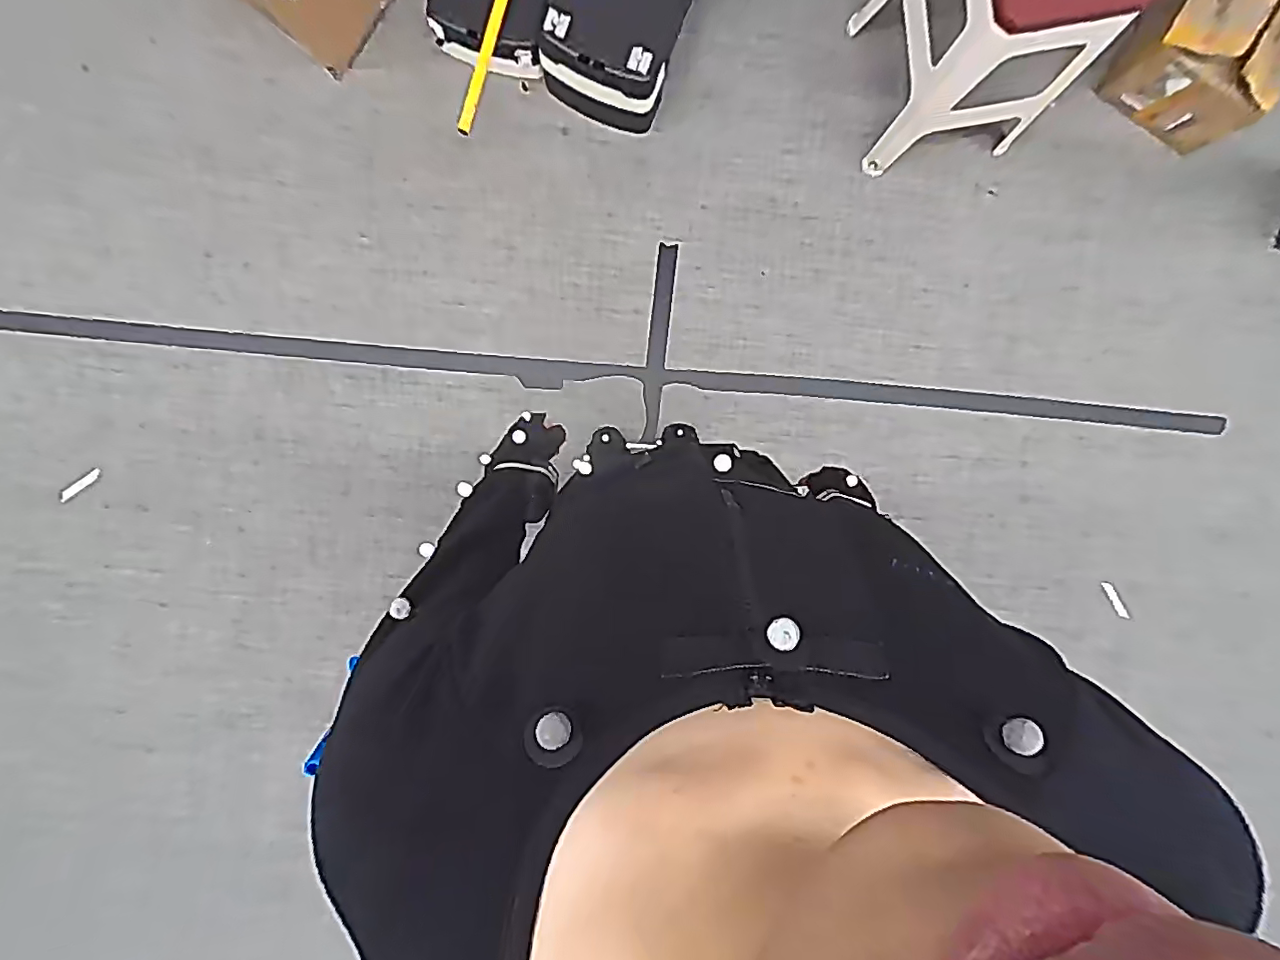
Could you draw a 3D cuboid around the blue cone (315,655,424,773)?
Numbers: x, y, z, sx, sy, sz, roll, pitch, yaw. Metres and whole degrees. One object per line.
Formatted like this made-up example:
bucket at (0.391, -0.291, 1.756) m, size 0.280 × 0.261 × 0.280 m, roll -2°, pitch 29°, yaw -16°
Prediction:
blue cone at (-0.703, 0.602, 1.356) m, size 0.192 × 0.380 × 0.193 m, roll 1°, pitch 96°, yaw -1°
